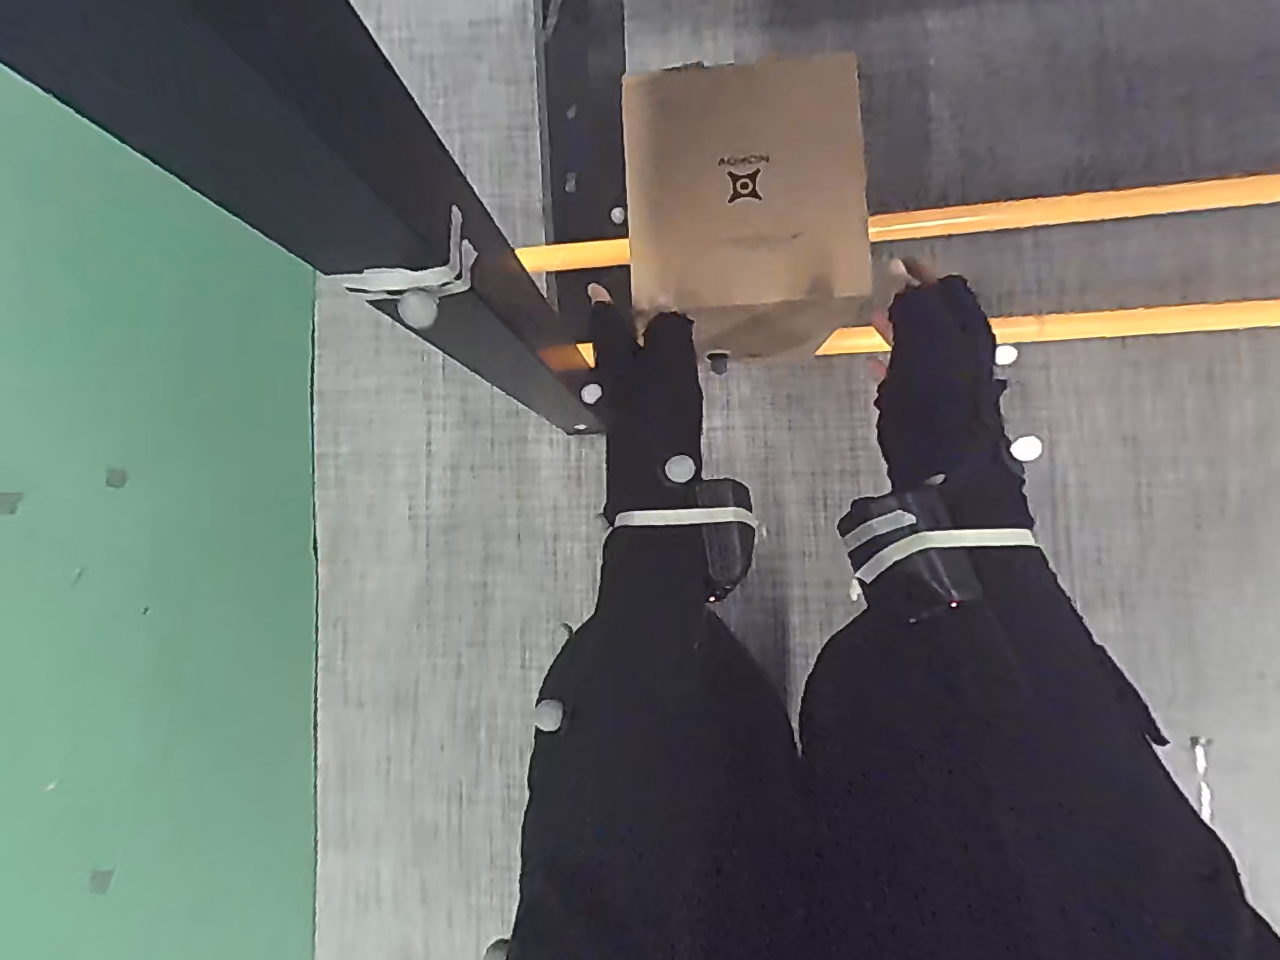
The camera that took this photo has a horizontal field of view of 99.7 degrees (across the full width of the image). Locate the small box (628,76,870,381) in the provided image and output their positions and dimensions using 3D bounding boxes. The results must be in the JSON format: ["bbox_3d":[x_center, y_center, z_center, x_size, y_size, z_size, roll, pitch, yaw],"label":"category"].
[{"bbox_3d":[0.079,-0.194,0.464,0.168,0.176,0.179,-4,88,4],"label":"small box"}]
